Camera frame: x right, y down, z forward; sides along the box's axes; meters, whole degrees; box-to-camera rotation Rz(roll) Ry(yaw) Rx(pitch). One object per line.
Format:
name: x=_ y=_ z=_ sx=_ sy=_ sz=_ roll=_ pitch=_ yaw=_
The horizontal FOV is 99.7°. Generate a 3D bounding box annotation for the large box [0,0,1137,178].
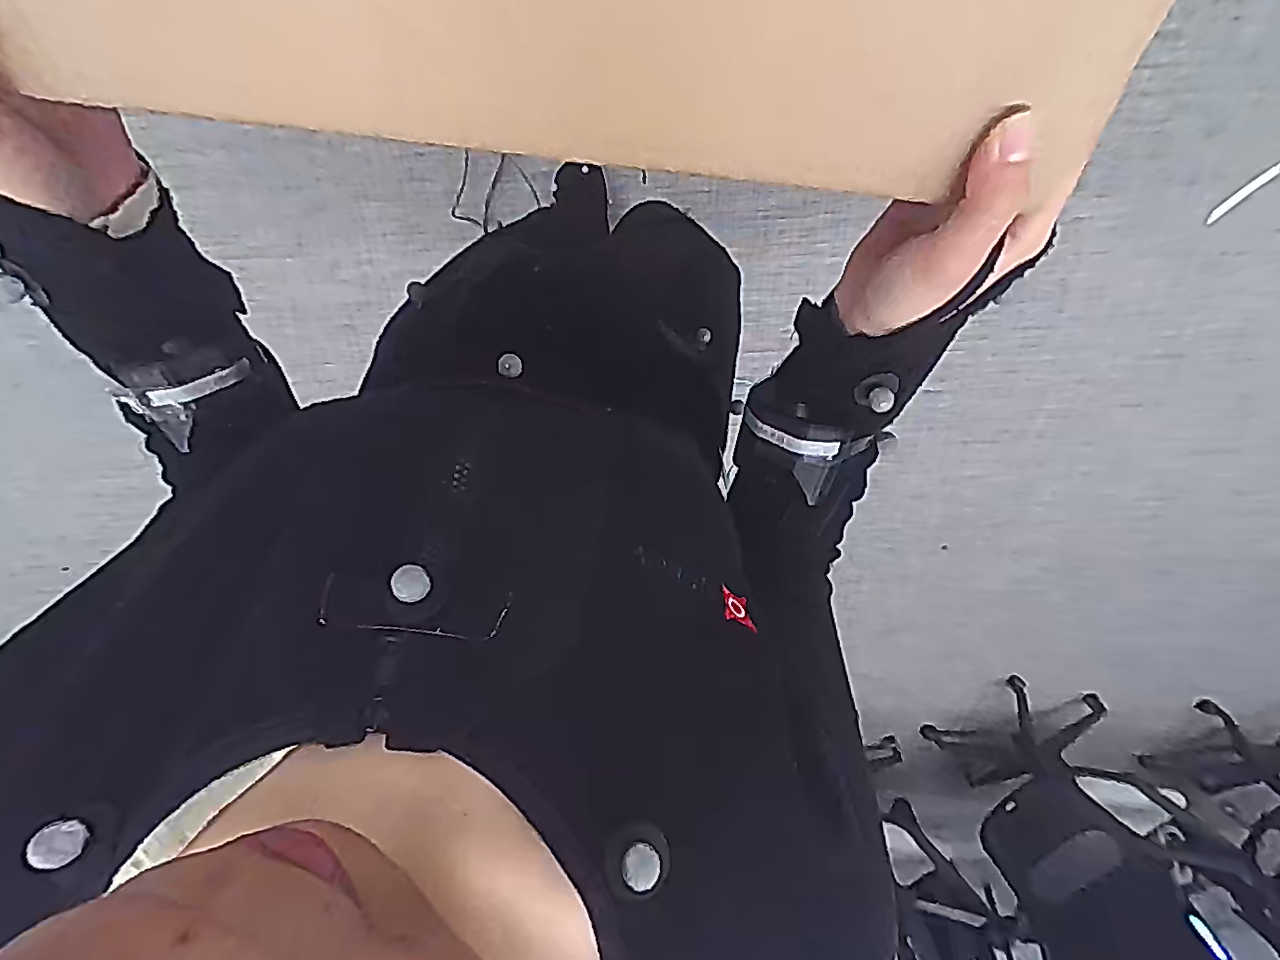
large box: x=-0.031 y=-0.340 z=0.190 sx=0.408 sy=0.320 sz=0.320 roll=3 pitch=139 yaw=-3
